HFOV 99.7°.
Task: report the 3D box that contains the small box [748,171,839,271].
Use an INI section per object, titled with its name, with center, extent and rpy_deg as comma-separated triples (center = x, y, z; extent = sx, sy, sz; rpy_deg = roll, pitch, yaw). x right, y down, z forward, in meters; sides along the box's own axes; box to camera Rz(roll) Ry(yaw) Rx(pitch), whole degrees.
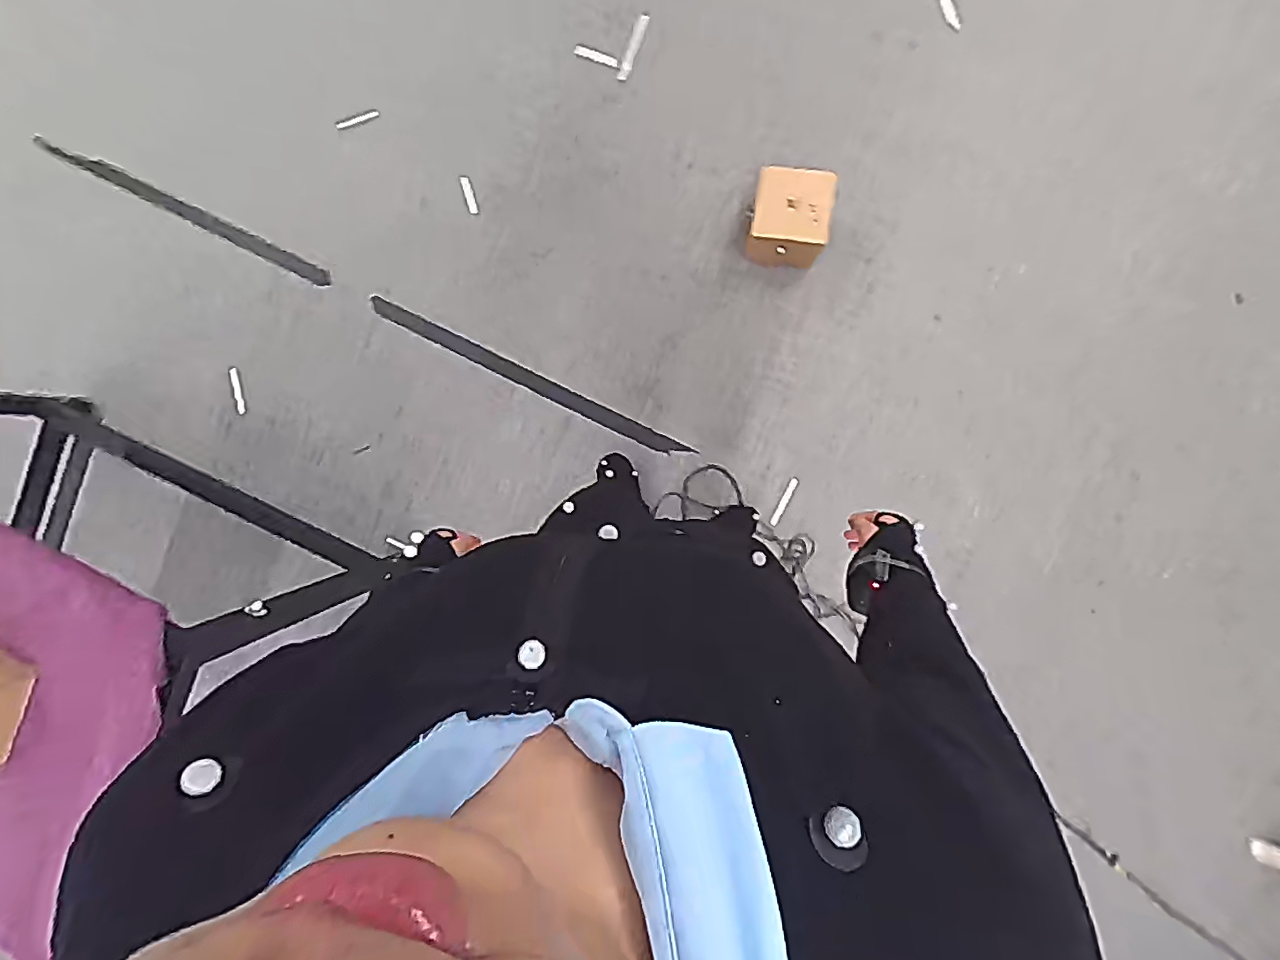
[small box]
center = 0.372, -0.636, 1.345
extent = 0.179, 0.176, 0.168
rpy_deg = 10, 93, 5
